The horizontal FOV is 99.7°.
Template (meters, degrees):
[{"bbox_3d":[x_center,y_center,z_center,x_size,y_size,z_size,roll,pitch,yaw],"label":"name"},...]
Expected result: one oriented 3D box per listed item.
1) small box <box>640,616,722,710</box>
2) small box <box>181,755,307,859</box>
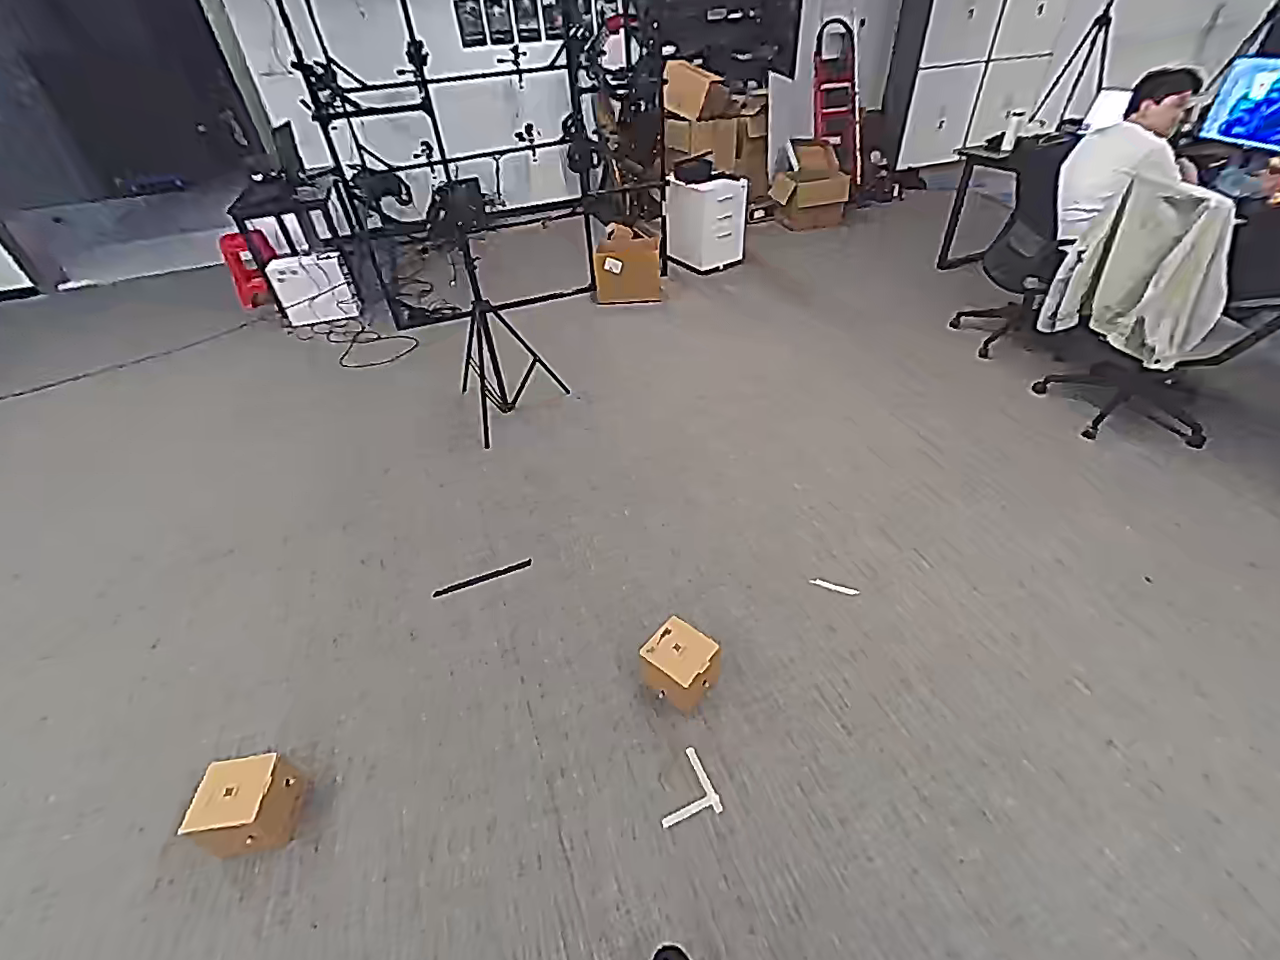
[{"bbox_3d":[0.122,0.544,1.586,0.179,0.176,0.168,28,50,31],"label":"small box"},{"bbox_3d":[-0.984,0.827,1.367,0.179,0.176,0.168,-9,39,-4],"label":"small box"}]
